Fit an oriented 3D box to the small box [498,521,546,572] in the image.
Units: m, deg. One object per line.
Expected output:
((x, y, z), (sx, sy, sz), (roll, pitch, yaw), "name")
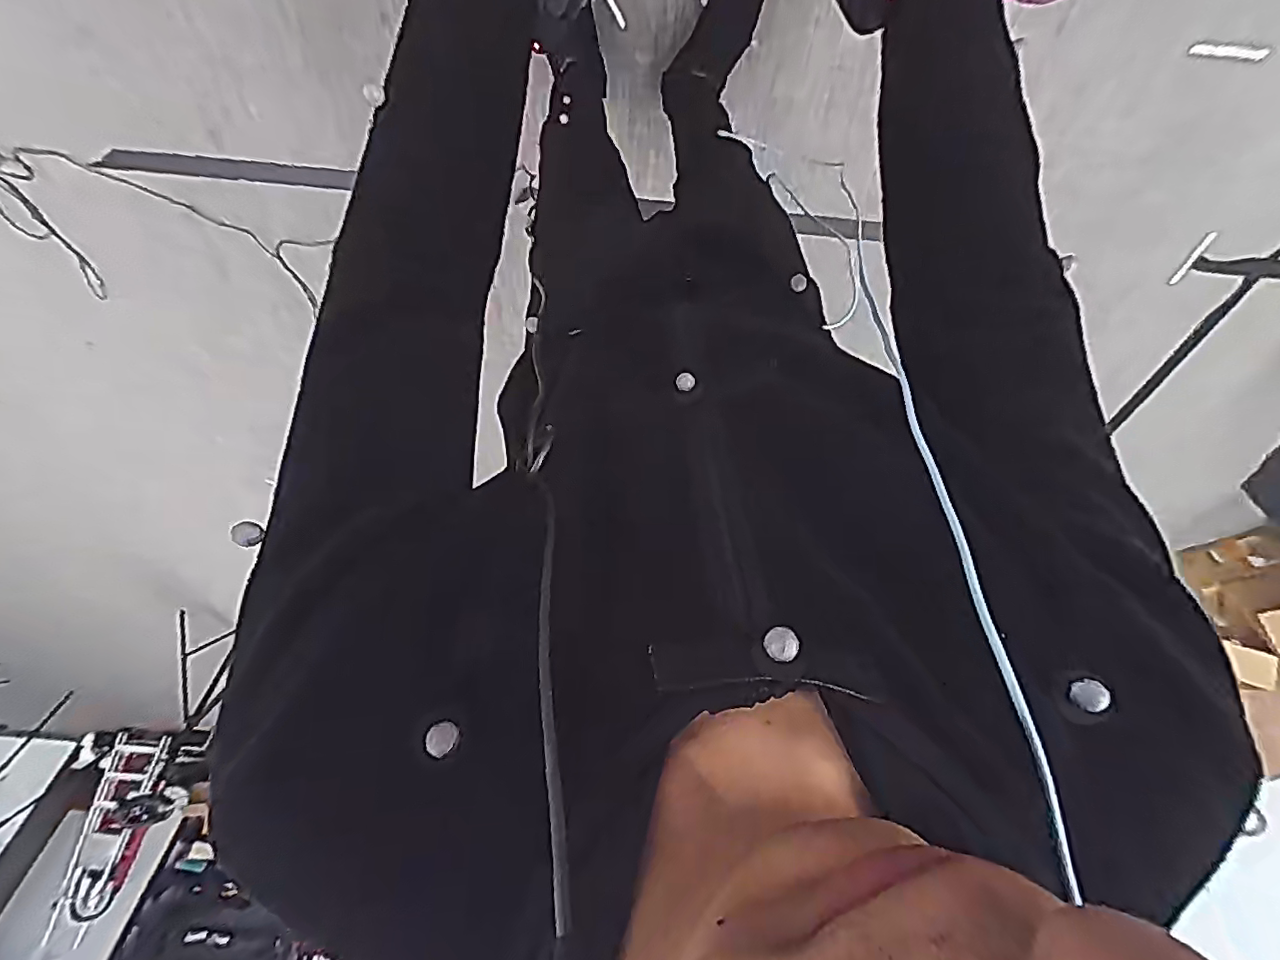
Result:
((-0.529, 0.300, 2.455), (0.179, 0.176, 0.168), (4, 138, 1), "small box")
